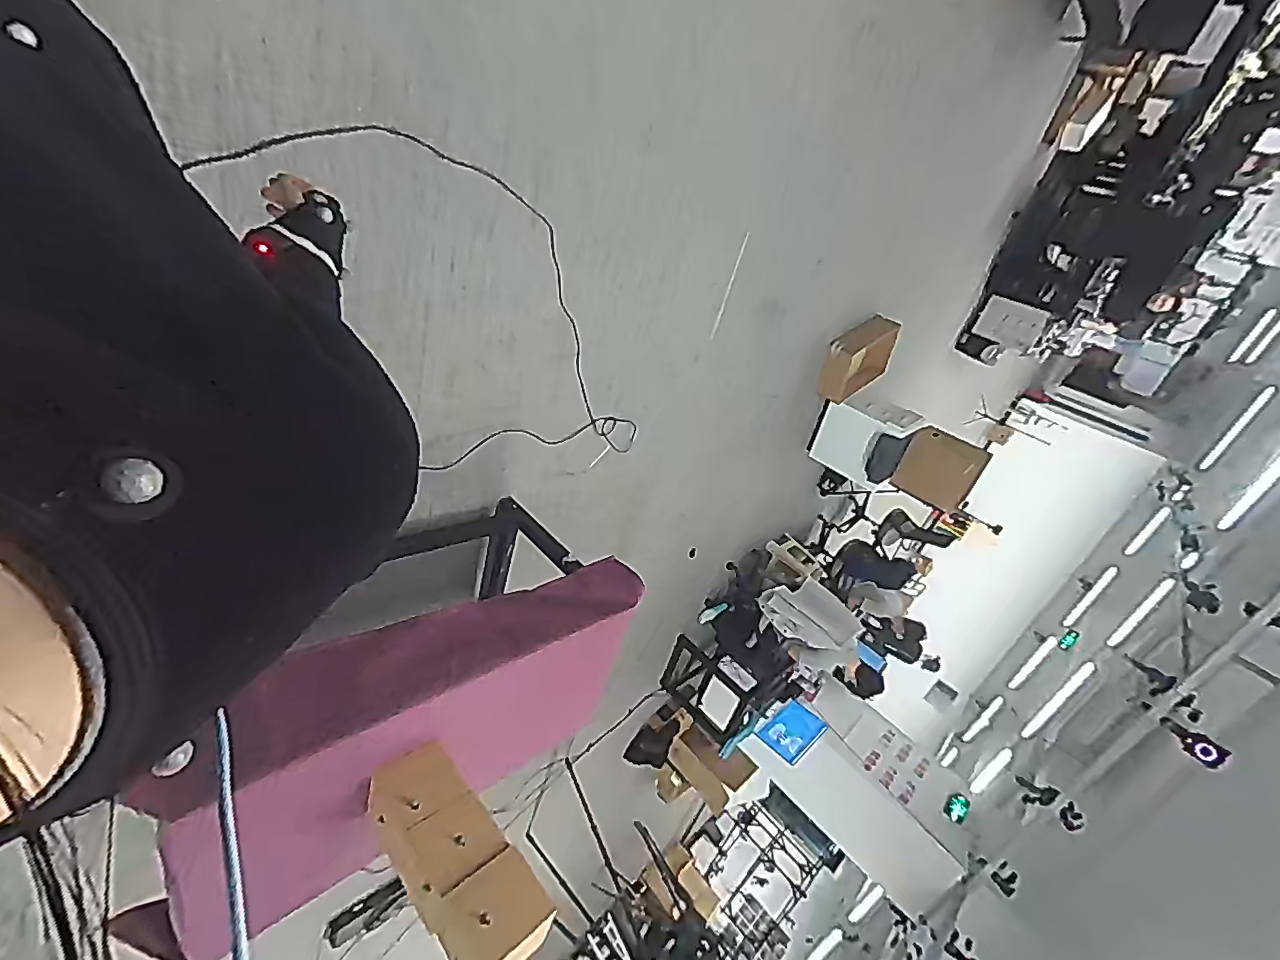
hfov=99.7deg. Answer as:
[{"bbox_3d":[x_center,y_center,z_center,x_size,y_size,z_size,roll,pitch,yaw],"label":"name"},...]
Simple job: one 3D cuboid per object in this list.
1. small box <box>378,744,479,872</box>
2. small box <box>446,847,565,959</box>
[{"bbox_3d":[-0.530,0.804,1.342,0.179,0.176,0.168,-11,129,-46],"label":"small box"},{"bbox_3d":[-0.296,0.956,1.169,0.179,0.176,0.168,-12,130,-46],"label":"small box"}]
